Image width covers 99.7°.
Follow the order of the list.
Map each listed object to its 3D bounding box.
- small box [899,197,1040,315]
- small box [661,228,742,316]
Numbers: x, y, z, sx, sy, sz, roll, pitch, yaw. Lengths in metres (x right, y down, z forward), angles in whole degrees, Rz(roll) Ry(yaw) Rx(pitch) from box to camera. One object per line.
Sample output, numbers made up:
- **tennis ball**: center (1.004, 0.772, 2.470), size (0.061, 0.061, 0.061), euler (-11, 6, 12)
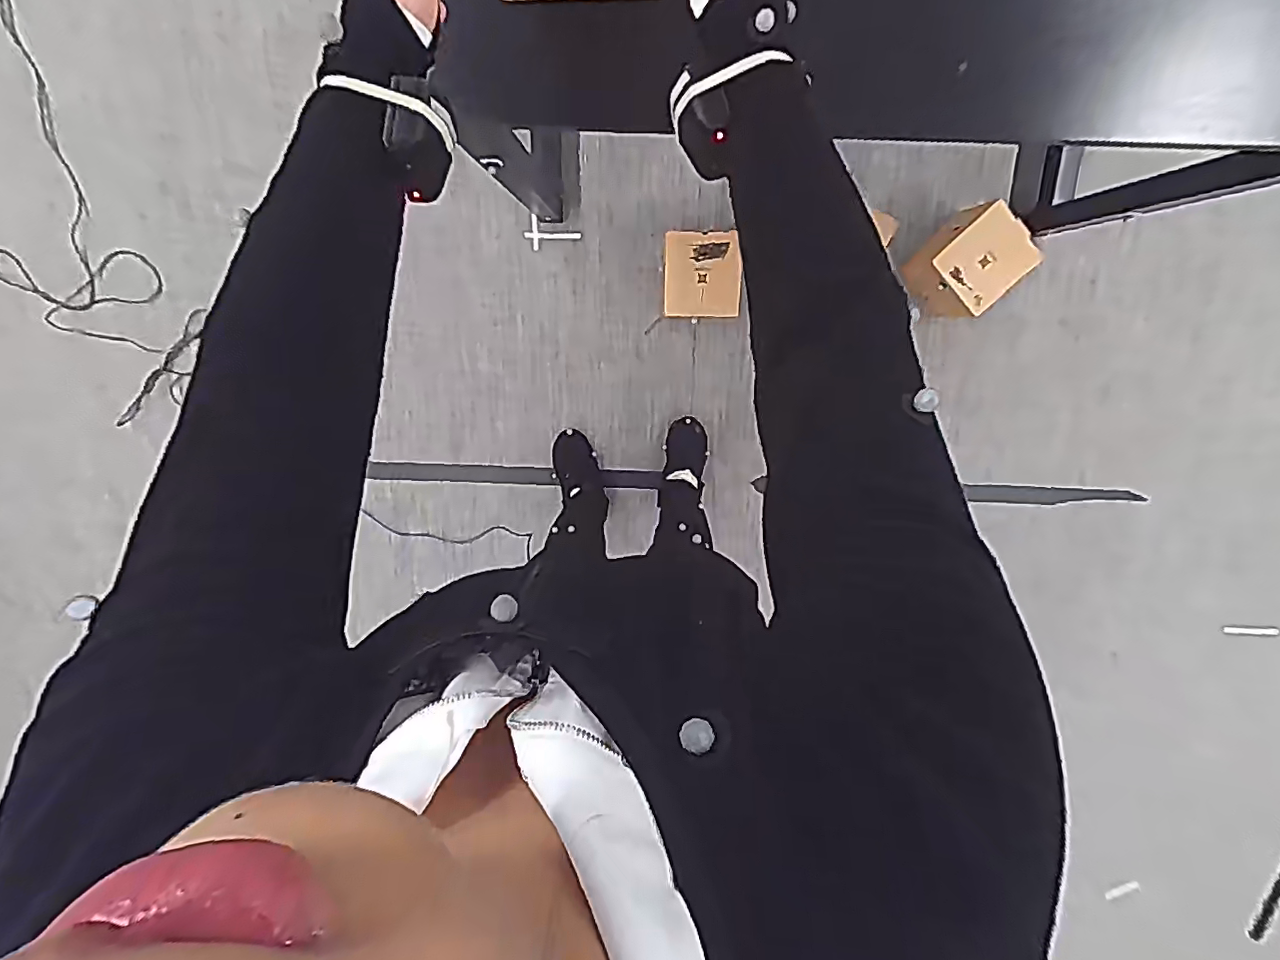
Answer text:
- **small box**: center (0.731, -0.494, 1.220), size (0.168, 0.176, 0.179), euler (44, 103, -11)
- **small box**: center (0.134, -0.469, 1.238), size (0.168, 0.176, 0.179), euler (1, 108, 1)
